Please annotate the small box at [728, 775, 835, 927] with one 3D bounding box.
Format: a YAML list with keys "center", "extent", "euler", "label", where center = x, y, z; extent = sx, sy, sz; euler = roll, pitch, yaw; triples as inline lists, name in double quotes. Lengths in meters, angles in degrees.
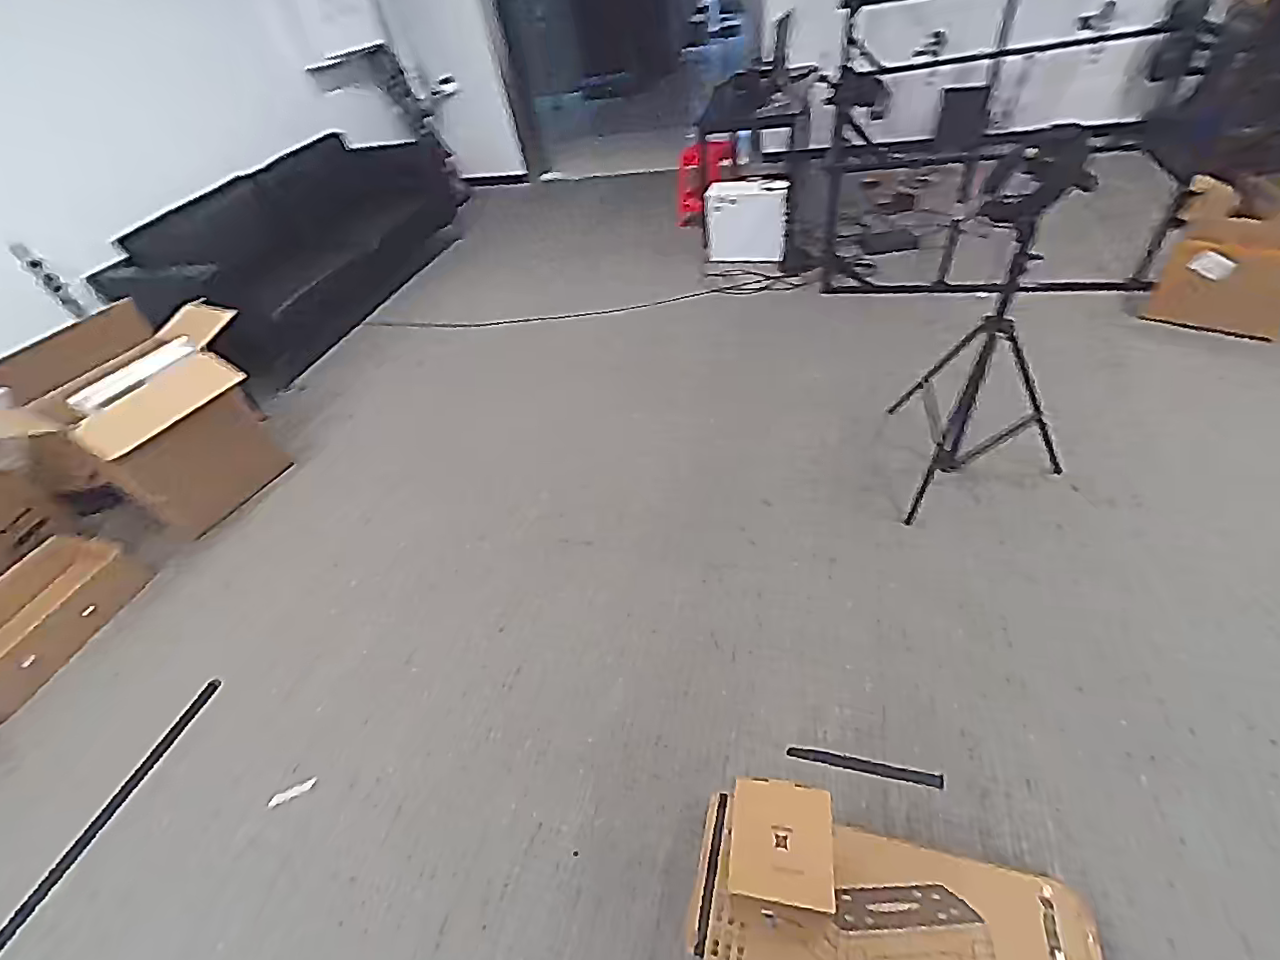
- center: [0.245, 0.655, 0.956]
  extent: [0.168, 0.176, 0.179]
  euler: [2, 46, 13]
  label: "small box"

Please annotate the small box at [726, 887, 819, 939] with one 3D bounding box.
- center: [0.270, 0.770, 1.069]
  extent: [0.168, 0.176, 0.179]
  euler: [8, 48, 18]
  label: "small box"
